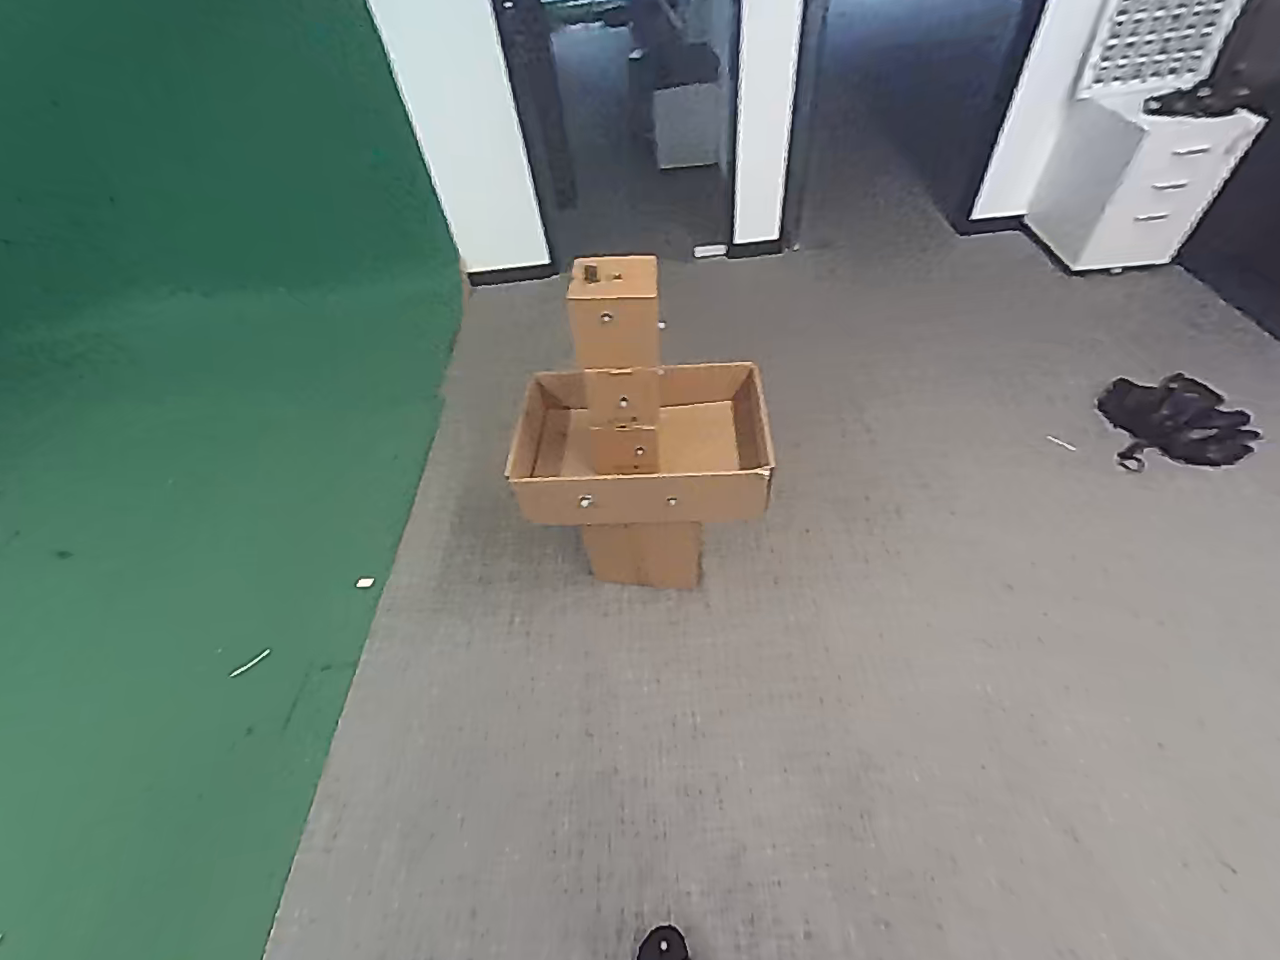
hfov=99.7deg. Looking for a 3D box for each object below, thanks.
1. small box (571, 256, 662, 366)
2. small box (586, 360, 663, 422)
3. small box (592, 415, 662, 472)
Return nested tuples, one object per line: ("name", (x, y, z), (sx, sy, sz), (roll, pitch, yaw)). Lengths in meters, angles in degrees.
("small box", (-0.042, -0.359, 1.160), (0.179, 0.176, 0.168), (0, 49, 2))
("small box", (-0.032, -0.248, 1.282), (0.168, 0.176, 0.179), (-2, 50, 1))
("small box", (-0.026, -0.135, 1.401), (0.168, 0.176, 0.179), (0, 47, 2))
